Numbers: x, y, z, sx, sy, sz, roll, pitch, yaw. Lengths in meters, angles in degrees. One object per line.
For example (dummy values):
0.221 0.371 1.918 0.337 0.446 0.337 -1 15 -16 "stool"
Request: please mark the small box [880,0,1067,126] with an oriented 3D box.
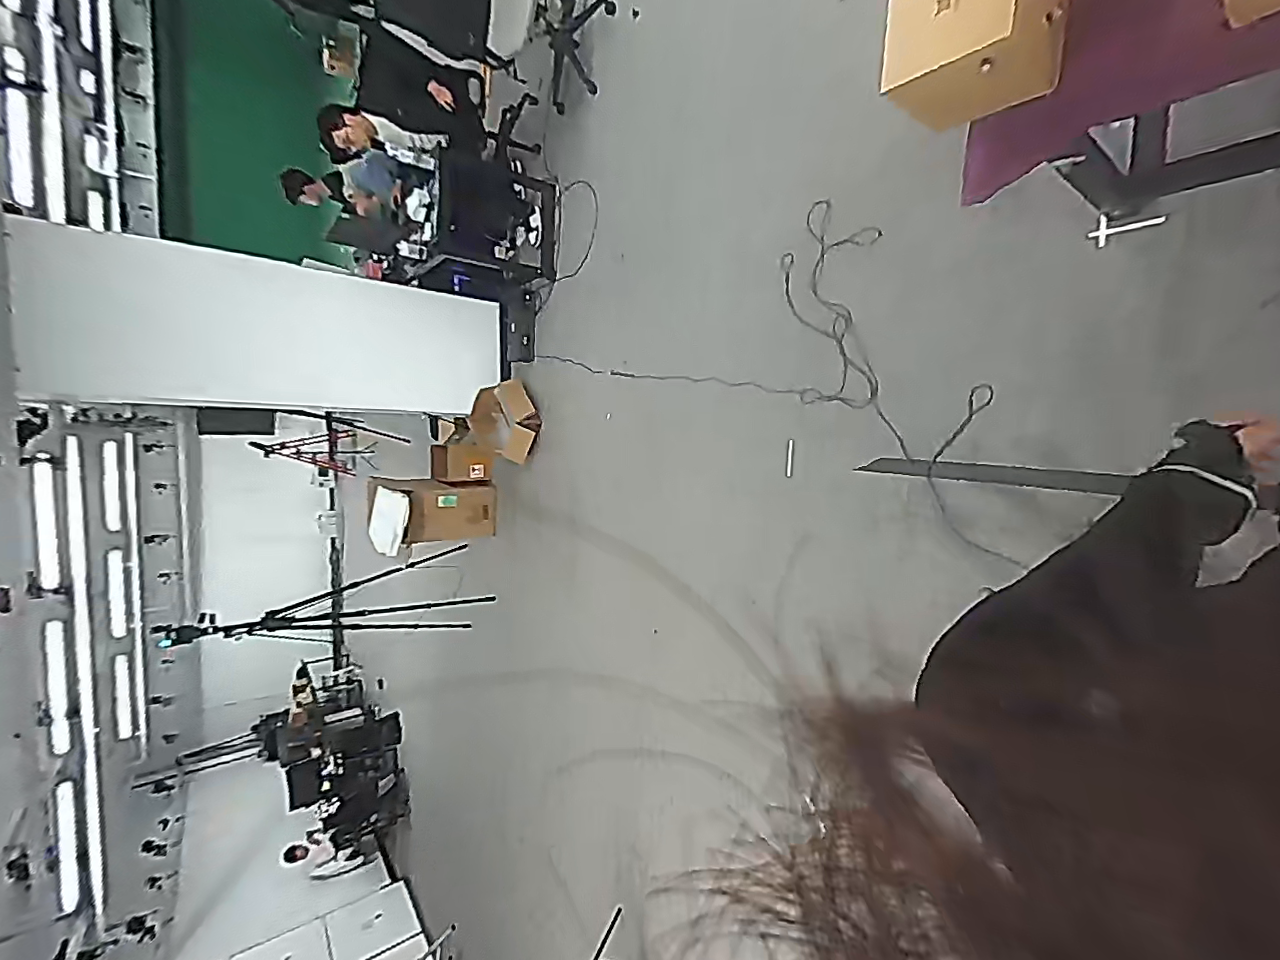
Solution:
0.477 -0.648 0.775 0.179 0.176 0.168 11 100 51 "small box"
